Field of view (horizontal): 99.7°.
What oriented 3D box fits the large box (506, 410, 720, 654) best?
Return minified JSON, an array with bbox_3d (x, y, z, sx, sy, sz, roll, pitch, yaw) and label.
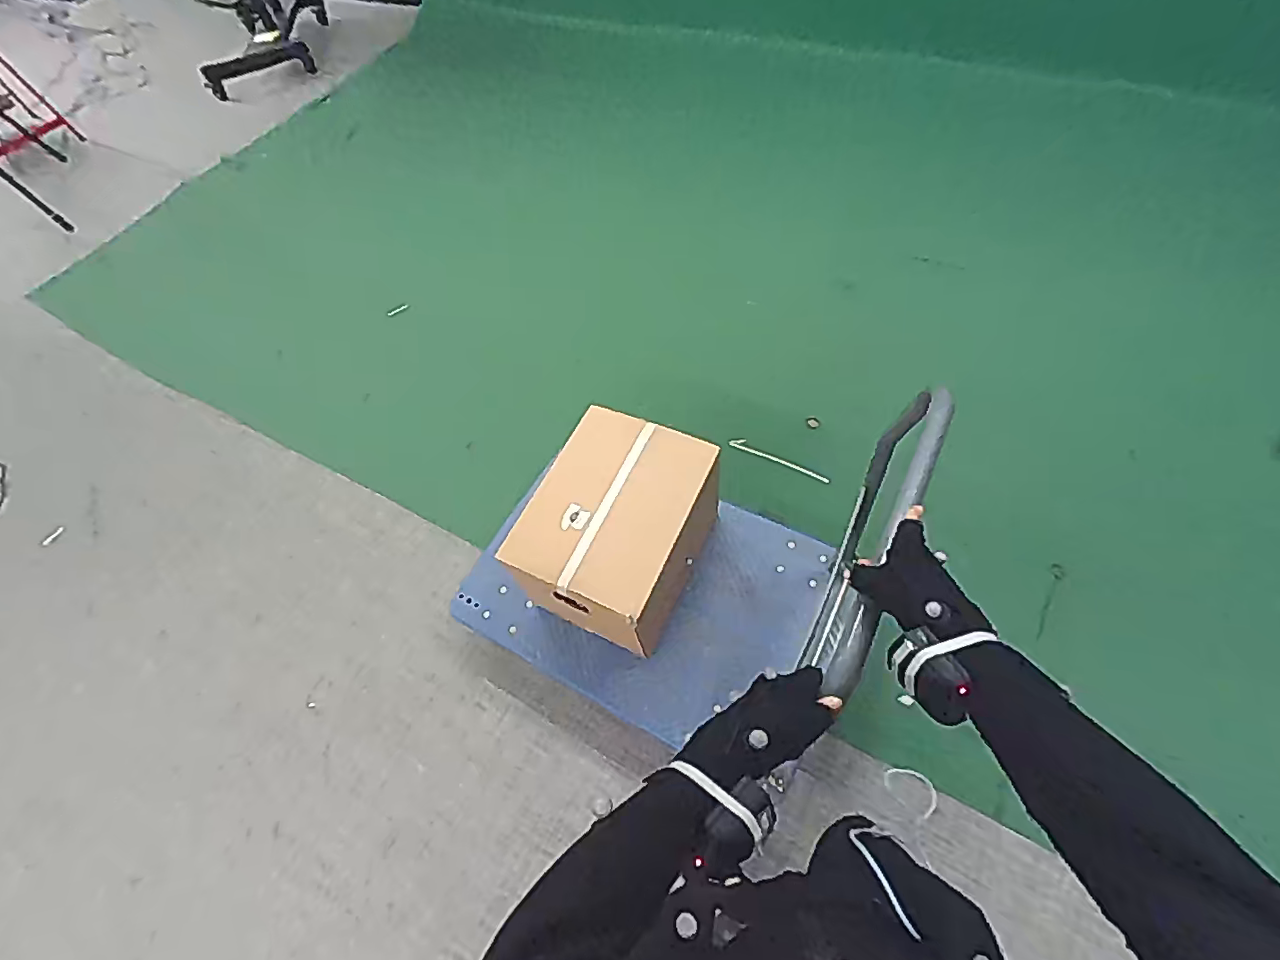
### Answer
[{"bbox_3d":[-0.033,0.120,1.226,0.320,0.320,0.408,20,65,18],"label":"large box"}]
